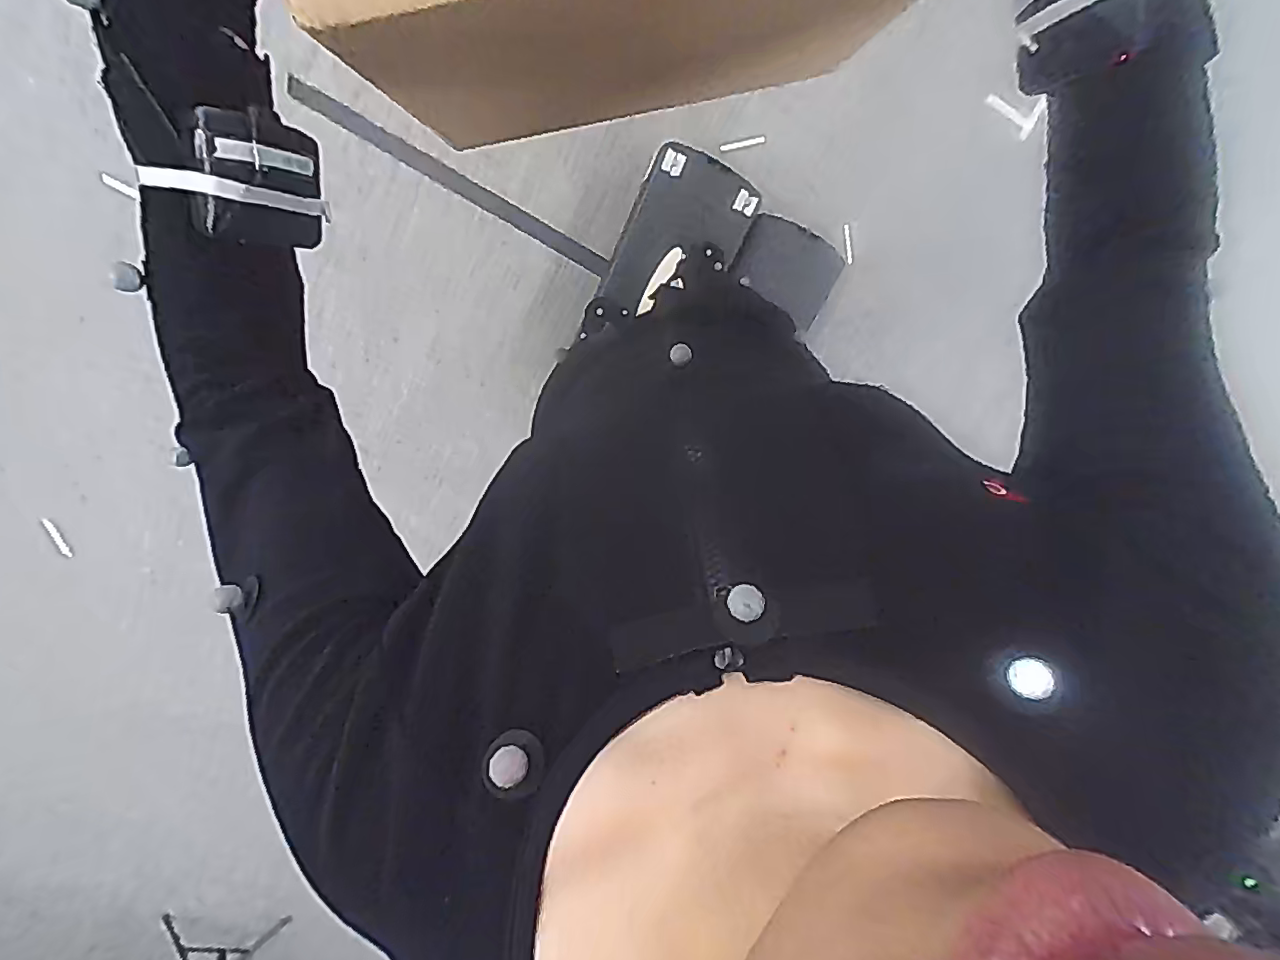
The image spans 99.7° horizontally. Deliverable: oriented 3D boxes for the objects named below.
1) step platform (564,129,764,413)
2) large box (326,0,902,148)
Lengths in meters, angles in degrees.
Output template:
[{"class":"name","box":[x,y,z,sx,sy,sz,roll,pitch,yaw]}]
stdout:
[{"class":"step platform","box":[0.048,-0.527,1.441,0.286,0.204,0.684,23,106,-11]},{"class":"large box","box":[-0.013,-0.472,0.372,0.408,0.320,0.320,-11,112,0]}]
